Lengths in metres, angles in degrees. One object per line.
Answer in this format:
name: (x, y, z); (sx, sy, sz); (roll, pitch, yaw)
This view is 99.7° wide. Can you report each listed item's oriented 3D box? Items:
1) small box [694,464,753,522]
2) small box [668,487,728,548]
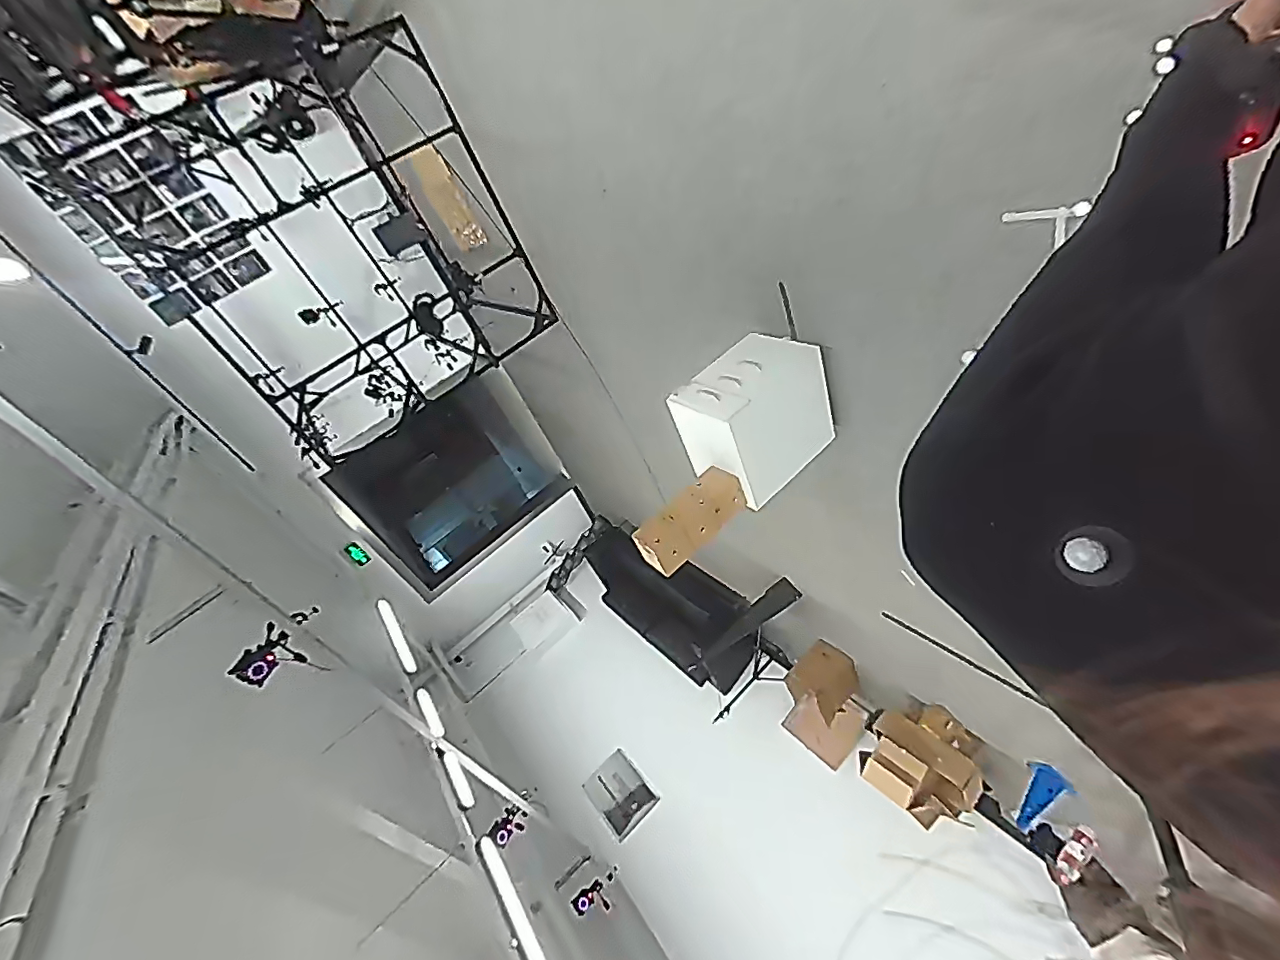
small box: (0.374, 0.054, 2.411); (0.179, 0.176, 0.168); (31, 156, 49)
small box: (0.256, 0.158, 2.363); (0.168, 0.176, 0.179); (32, 157, 49)
